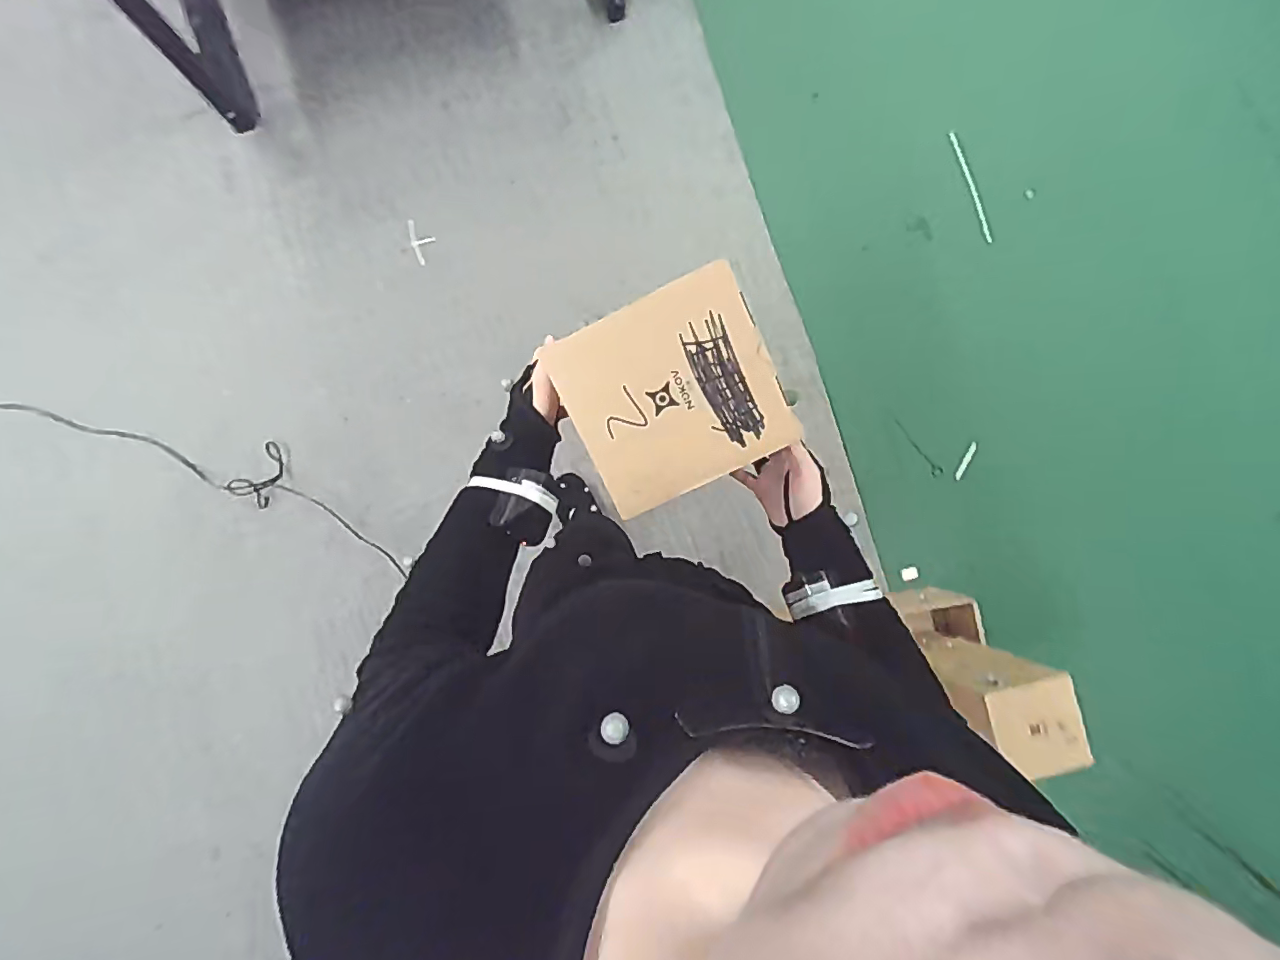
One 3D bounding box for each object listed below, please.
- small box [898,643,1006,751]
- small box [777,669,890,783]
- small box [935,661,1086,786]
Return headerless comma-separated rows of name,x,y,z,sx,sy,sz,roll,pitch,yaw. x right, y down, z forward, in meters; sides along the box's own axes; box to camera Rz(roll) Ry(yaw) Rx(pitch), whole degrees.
small box,0.726,0.492,1.244,0.168,0.176,0.179,-10,85,-4
small box,0.424,0.538,1.214,0.168,0.176,0.179,-10,86,-6
small box,0.721,0.475,1.079,0.179,0.176,0.168,-11,85,-4
